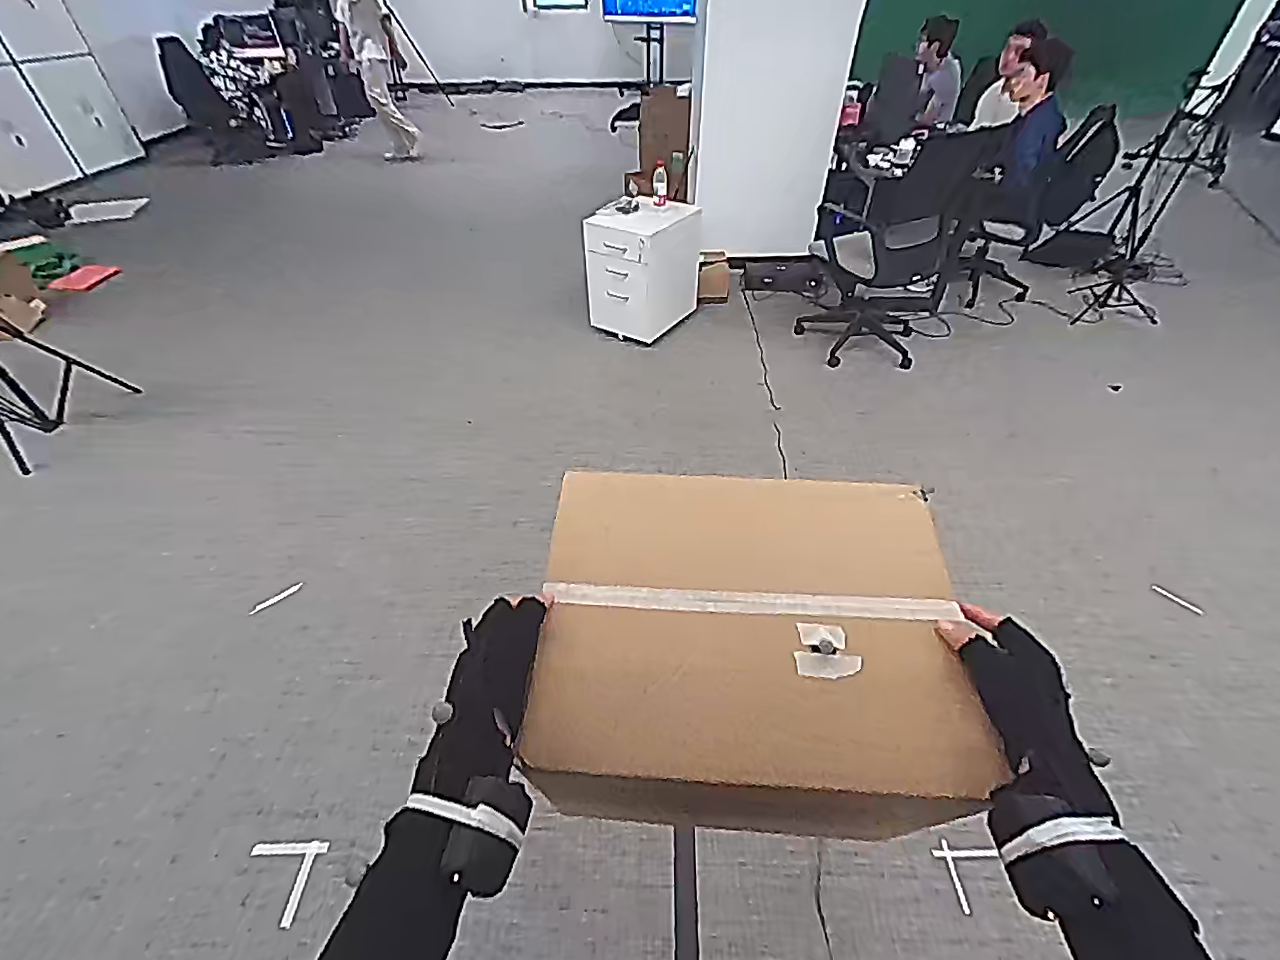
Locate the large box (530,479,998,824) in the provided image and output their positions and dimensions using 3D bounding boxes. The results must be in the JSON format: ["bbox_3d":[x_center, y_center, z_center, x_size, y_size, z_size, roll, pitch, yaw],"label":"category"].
[{"bbox_3d":[0.110,0.216,0.662,0.408,0.320,0.320,2,53,3],"label":"large box"}]
